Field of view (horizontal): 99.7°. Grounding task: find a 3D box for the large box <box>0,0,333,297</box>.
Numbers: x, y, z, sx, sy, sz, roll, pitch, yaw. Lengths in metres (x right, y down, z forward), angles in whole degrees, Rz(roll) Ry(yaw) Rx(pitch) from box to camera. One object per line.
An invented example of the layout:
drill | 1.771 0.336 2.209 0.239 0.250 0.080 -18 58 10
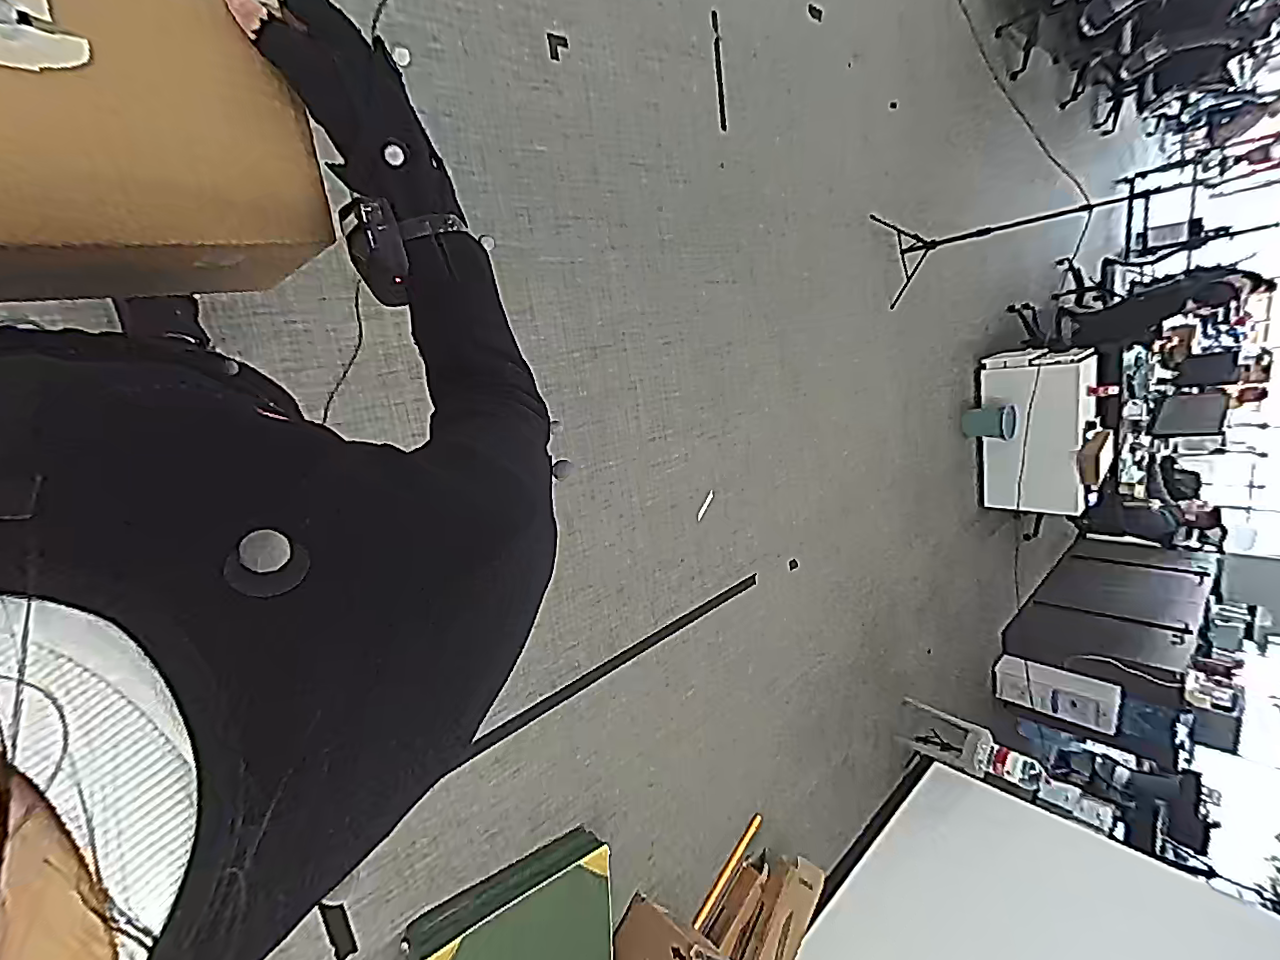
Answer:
large box | -0.500 -0.298 0.360 0.408 0.320 0.320 -21 113 -38
